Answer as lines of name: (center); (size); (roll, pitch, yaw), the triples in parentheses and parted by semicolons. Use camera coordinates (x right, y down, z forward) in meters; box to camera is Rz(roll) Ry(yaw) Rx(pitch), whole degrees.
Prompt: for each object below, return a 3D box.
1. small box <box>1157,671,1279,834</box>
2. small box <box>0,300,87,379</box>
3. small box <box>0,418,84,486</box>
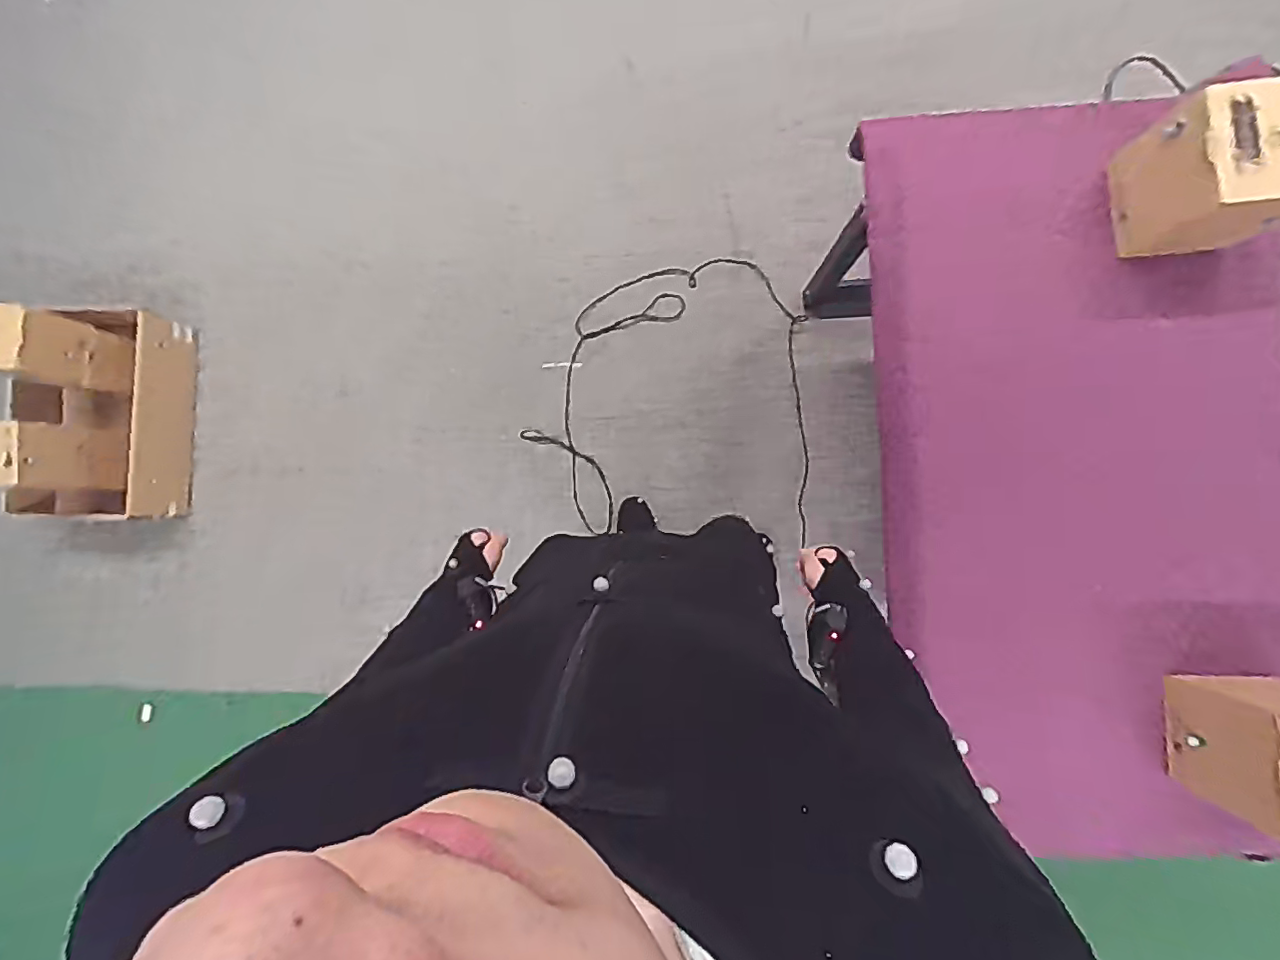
small box: (0.911, 0.382, 0.779); (0.179, 0.176, 0.168); (0, 86, 3)
small box: (-1.642, -0.369, 1.430); (0.179, 0.176, 0.168); (5, 88, 1)
small box: (-1.634, -0.070, 1.421); (0.179, 0.176, 0.168); (-2, 89, 3)
